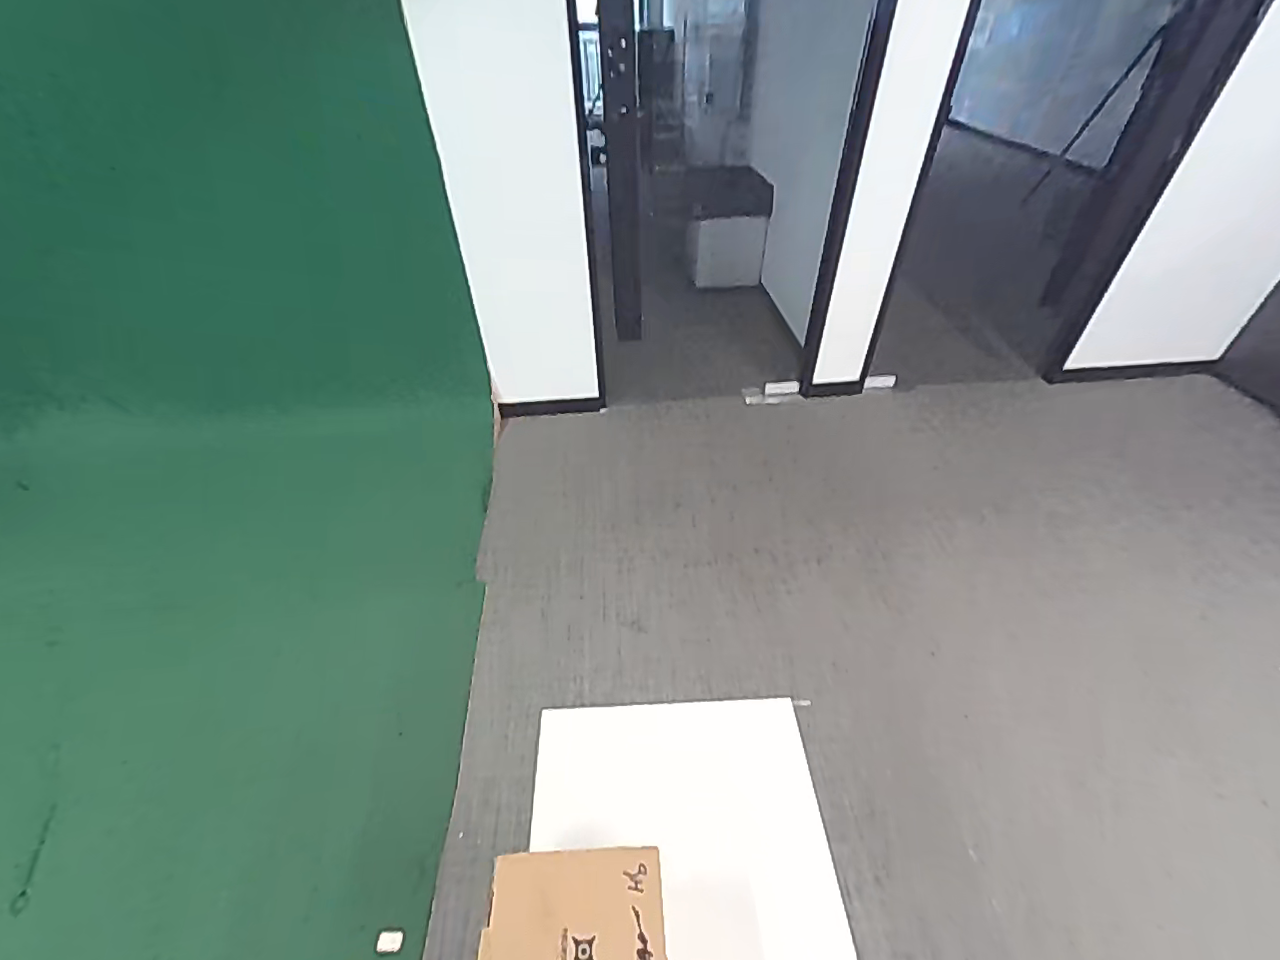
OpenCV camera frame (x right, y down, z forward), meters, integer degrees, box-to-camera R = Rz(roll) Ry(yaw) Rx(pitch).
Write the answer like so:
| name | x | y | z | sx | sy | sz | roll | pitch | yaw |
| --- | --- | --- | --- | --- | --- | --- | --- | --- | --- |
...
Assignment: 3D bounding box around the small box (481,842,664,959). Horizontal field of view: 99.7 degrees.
| name | x | y | z | sx | sy | sz | roll | pitch | yaw |
| --- | --- | --- | --- | --- | --- | --- | --- | --- | --- |
| small box | -0.064 | 0.506 | 0.571 | 0.179 | 0.176 | 0.168 | -2 | 43 | -2 |
